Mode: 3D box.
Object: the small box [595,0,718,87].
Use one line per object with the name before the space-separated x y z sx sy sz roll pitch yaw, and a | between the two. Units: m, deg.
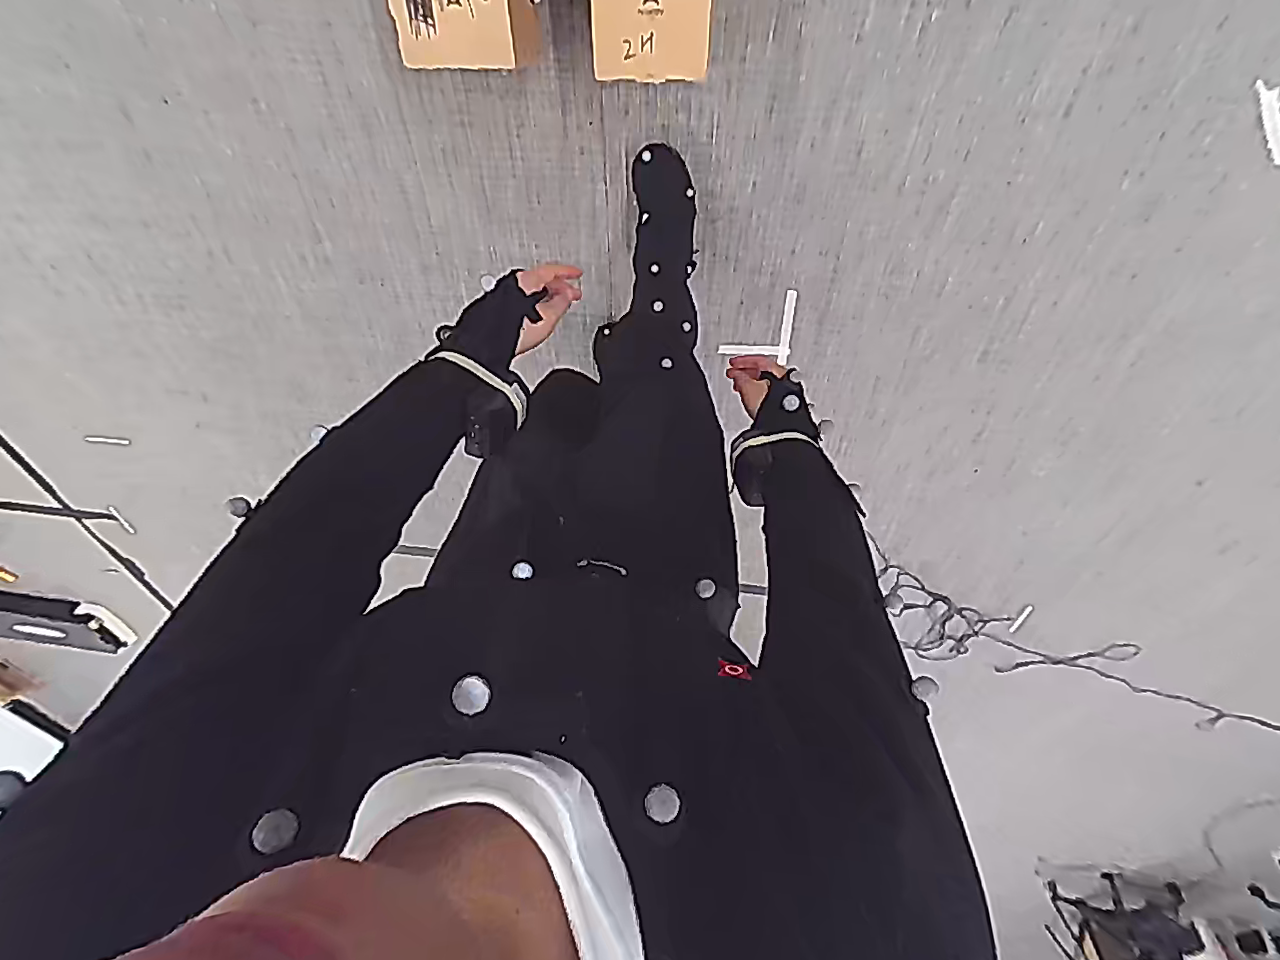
small box | 0.028 -0.698 0.798 0.168 0.176 0.179 5 132 6
